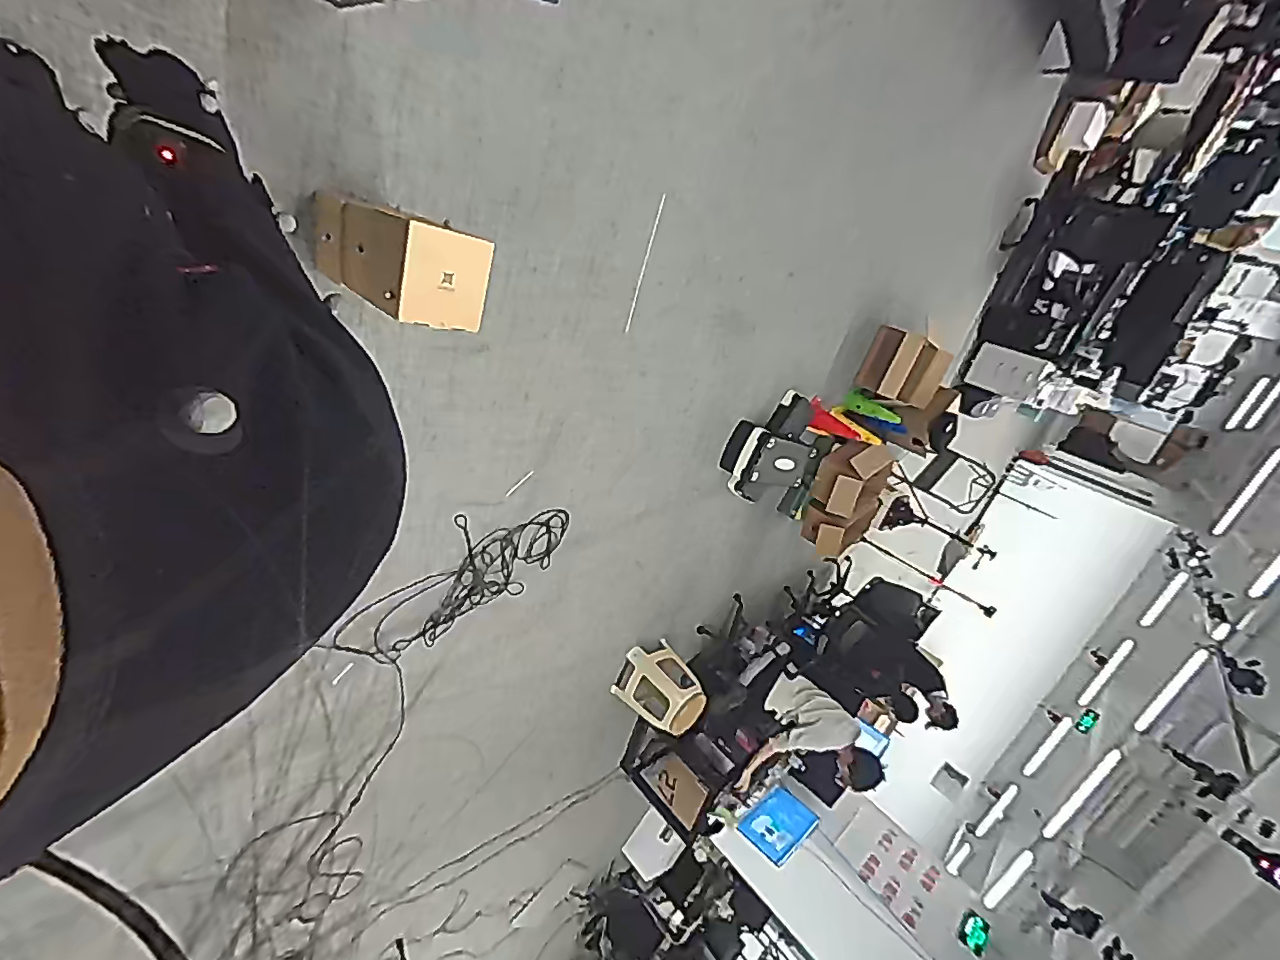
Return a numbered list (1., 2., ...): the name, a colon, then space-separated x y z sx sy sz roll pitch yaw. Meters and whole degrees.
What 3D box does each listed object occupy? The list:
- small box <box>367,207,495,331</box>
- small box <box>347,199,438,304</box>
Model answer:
1. small box: -0.406 -0.404 1.040 0.168 0.176 0.179 -6 122 -46
2. small box: -0.507 -0.475 1.148 0.168 0.176 0.179 -9 123 -45
